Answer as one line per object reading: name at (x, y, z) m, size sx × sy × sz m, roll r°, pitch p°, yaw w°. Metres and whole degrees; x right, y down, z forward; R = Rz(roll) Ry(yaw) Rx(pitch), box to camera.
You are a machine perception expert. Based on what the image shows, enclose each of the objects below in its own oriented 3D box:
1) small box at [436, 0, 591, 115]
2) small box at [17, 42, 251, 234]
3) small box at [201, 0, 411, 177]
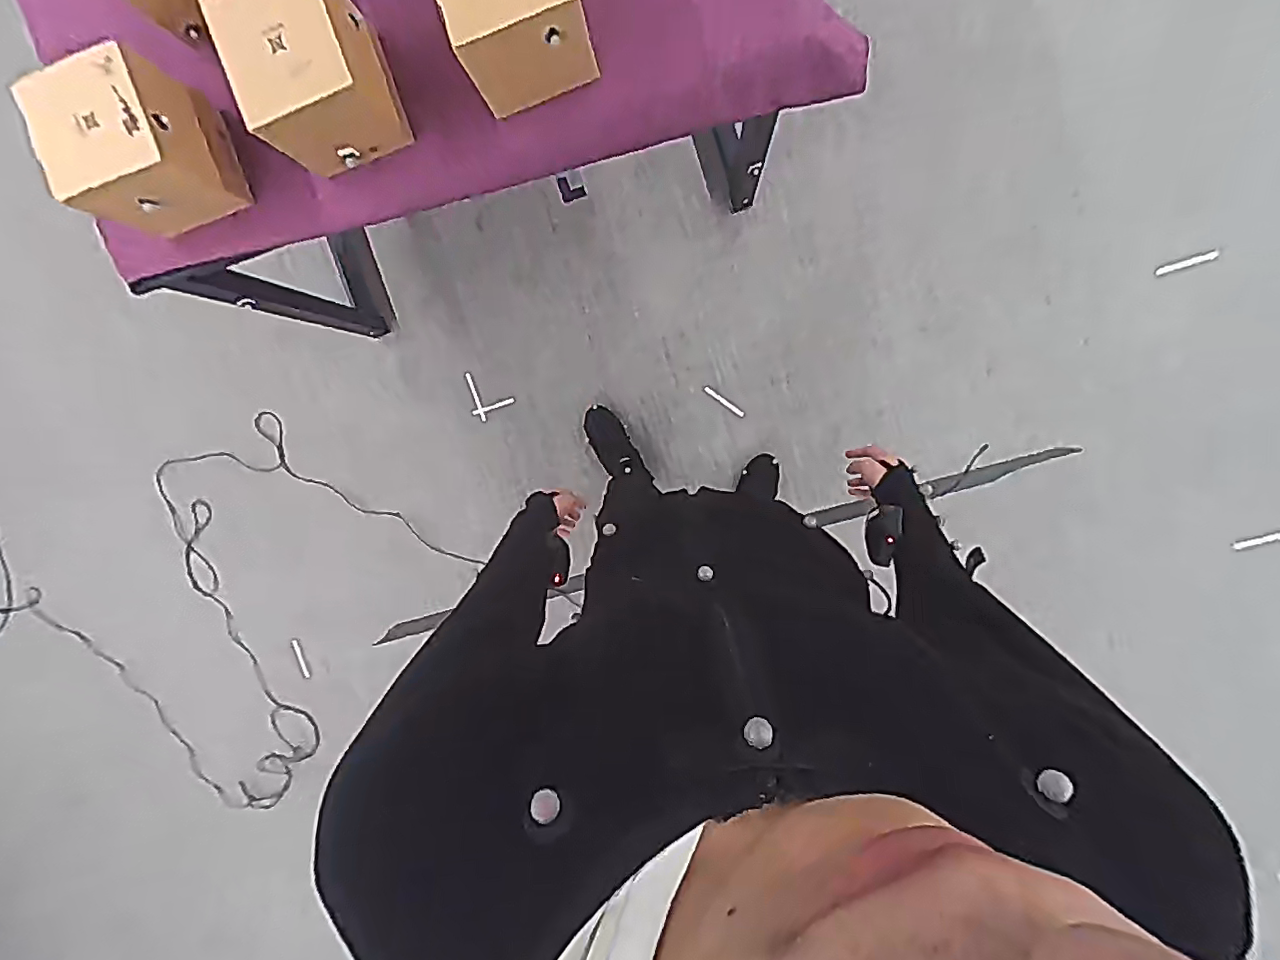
small box at (-0.177, -0.661, 0.758) m, size 0.179 × 0.176 × 0.168 m, roll -17°, pitch 95°, yaw 7°
small box at (-0.756, -0.503, 0.827) m, size 0.179 × 0.176 × 0.168 m, roll -16°, pitch 96°, yaw 7°
small box at (-0.474, -0.589, 0.796) m, size 0.168 × 0.176 × 0.179 m, roll -17°, pitch 97°, yaw 7°
